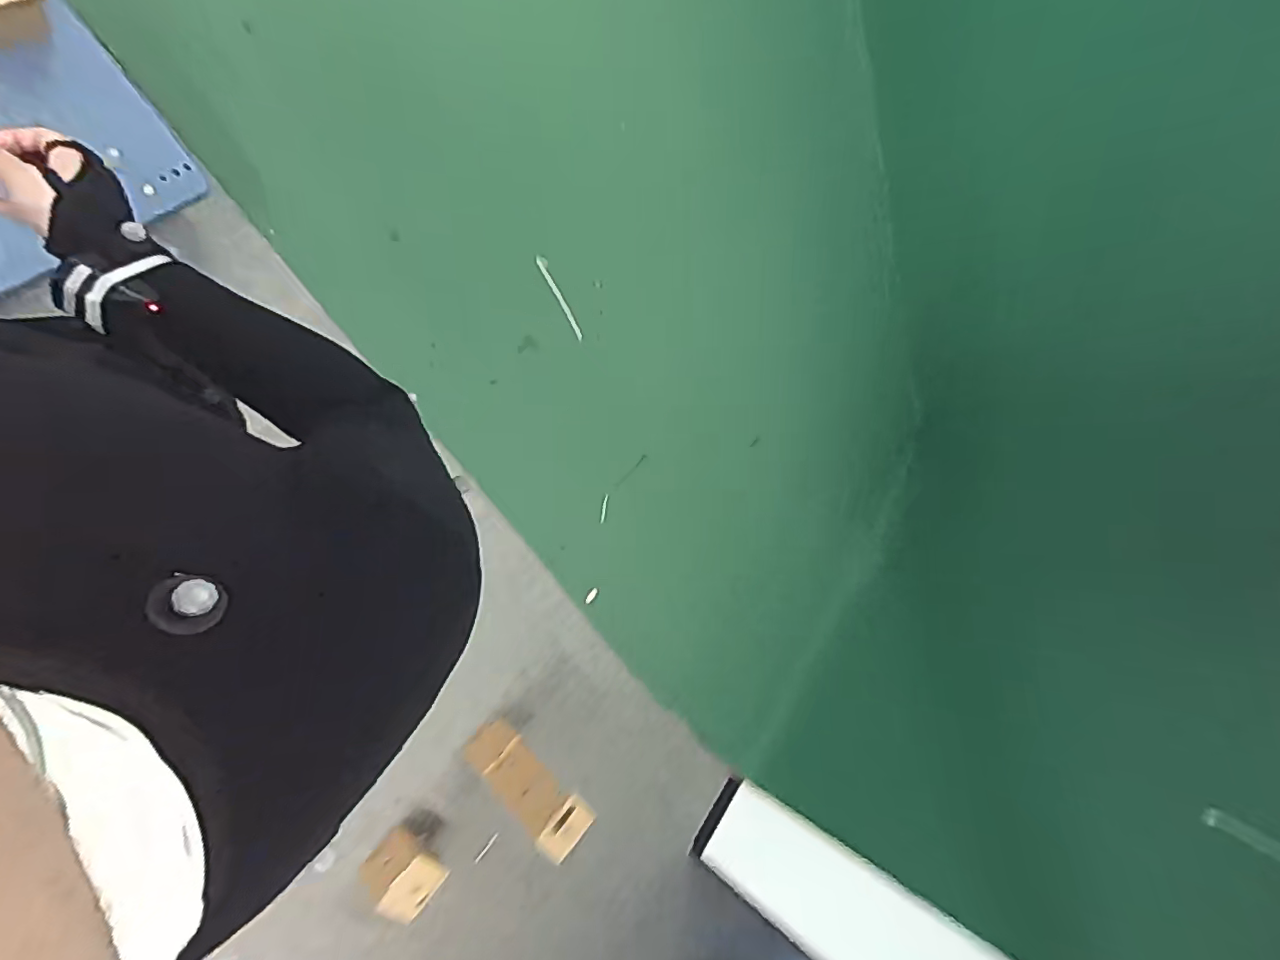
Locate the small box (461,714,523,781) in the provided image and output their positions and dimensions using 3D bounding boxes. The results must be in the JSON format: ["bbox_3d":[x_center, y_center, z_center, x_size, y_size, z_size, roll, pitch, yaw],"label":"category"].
[{"bbox_3d":[-0.516,0.983,1.963,0.168,0.176,0.179,-44,128,-27],"label":"small box"}]

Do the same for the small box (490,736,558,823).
[{"bbox_3d":[-0.401,1.022,1.865,0.179,0.176,0.168,-10,105,-43],"label":"small box"}]

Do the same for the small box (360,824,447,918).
[{"bbox_3d":[-0.781,1.276,1.776,0.168,0.176,0.179,-47,128,-26],"label":"small box"}]

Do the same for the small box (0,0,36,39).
[{"bbox_3d":[-1.039,-0.754,0.777,0.179,0.176,0.168,-47,129,-25],"label":"small box"}]
